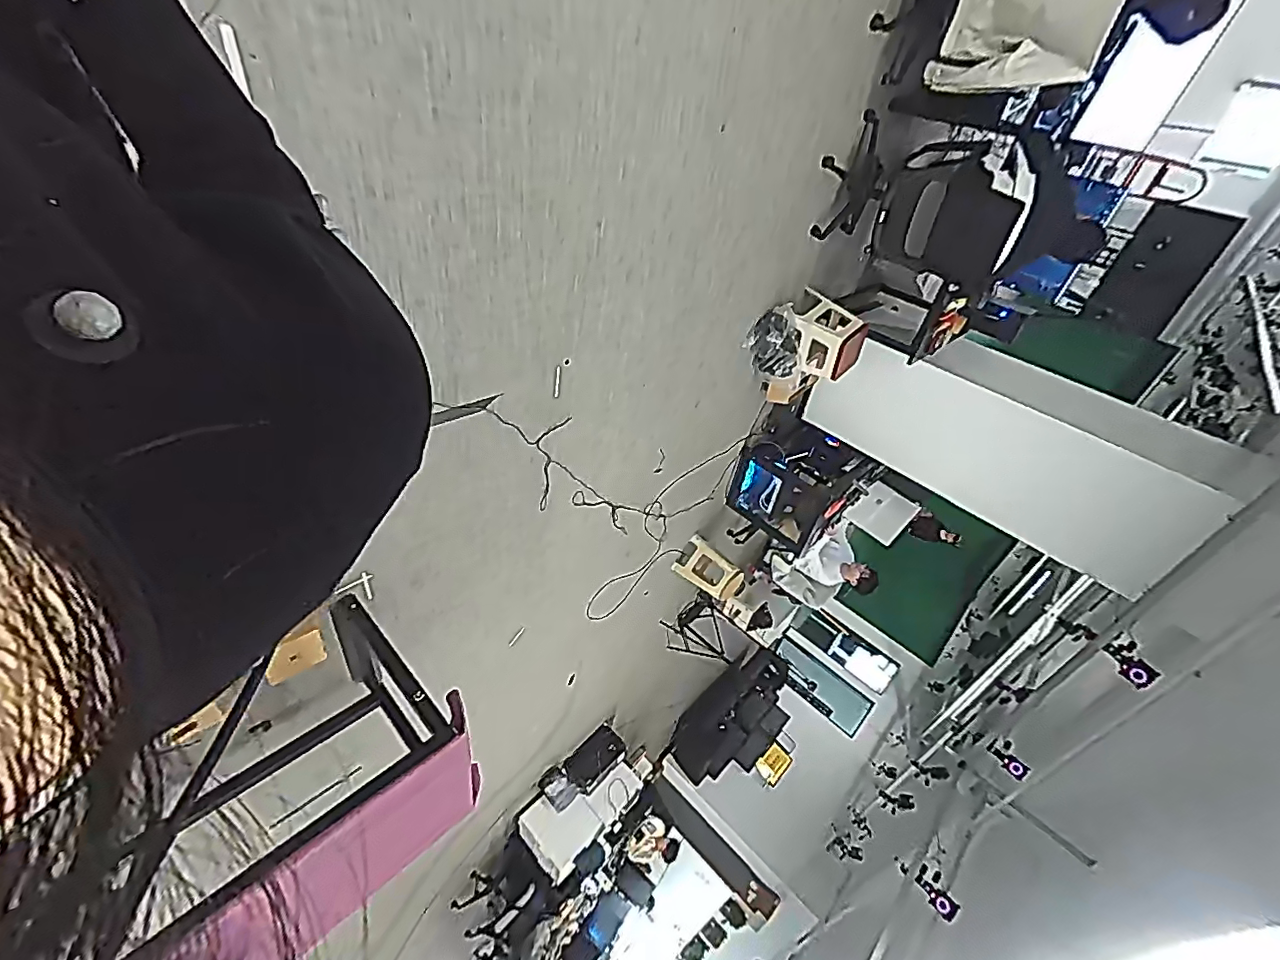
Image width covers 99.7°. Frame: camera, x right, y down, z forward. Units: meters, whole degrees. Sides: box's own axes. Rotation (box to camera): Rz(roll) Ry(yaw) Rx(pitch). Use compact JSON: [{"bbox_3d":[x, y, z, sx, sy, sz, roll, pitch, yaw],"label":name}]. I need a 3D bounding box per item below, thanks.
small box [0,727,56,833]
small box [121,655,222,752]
[{"bbox_3d":[-1.636,0.776,1.376,0.179,0.176,0.168,-13,131,-53],"label":"small box"},{"bbox_3d":[-1.395,0.660,1.612,0.168,0.176,0.179,-29,142,-39],"label":"small box"}]
